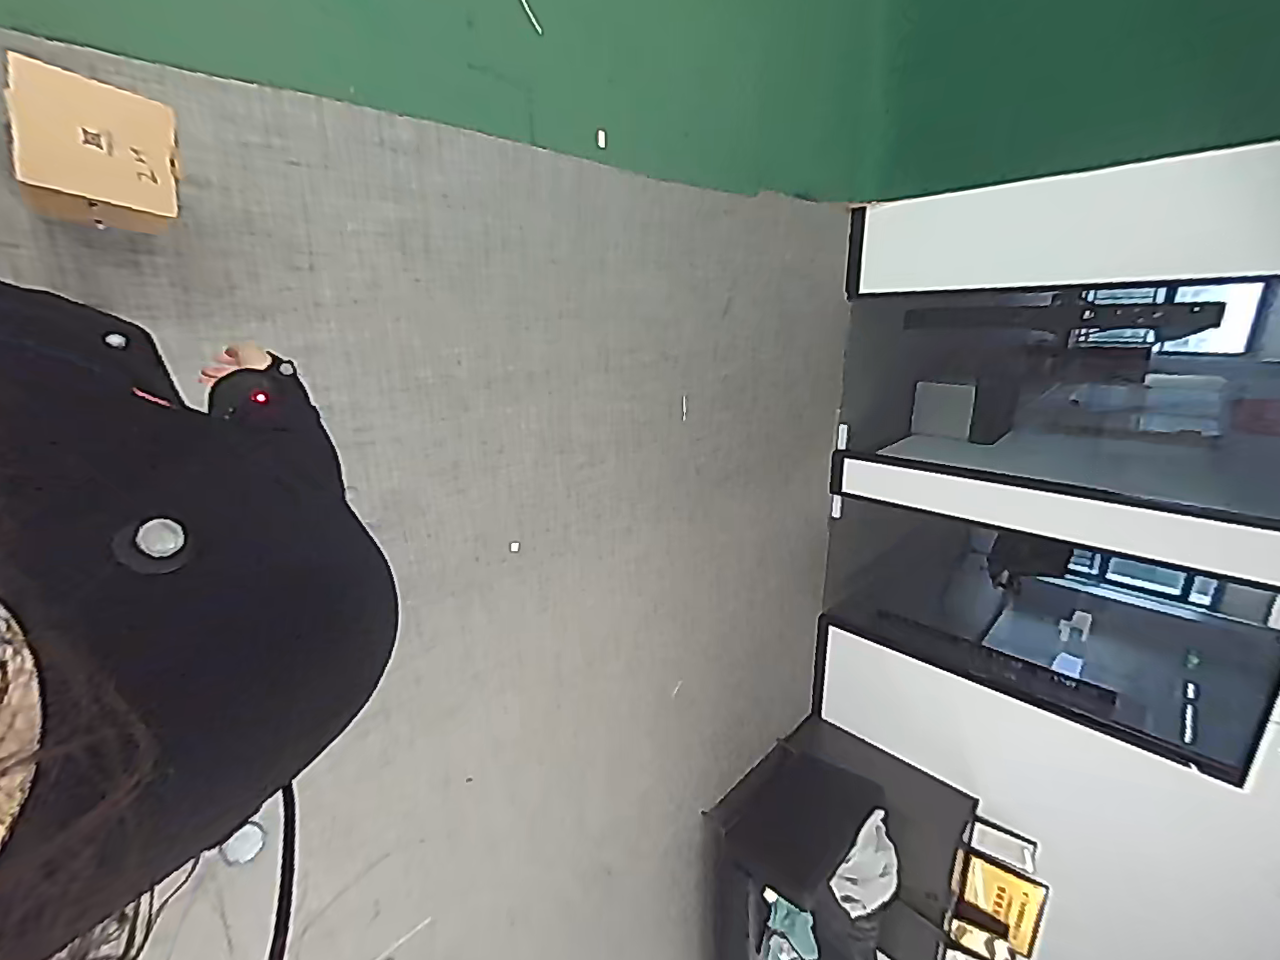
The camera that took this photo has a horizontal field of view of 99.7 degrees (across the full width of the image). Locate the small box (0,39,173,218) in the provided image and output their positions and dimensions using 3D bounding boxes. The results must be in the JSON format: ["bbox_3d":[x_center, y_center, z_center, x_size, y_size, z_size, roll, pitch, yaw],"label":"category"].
[{"bbox_3d":[-0.845,-0.520,0.834,0.179,0.176,0.168,-3,105,-46],"label":"small box"}]
